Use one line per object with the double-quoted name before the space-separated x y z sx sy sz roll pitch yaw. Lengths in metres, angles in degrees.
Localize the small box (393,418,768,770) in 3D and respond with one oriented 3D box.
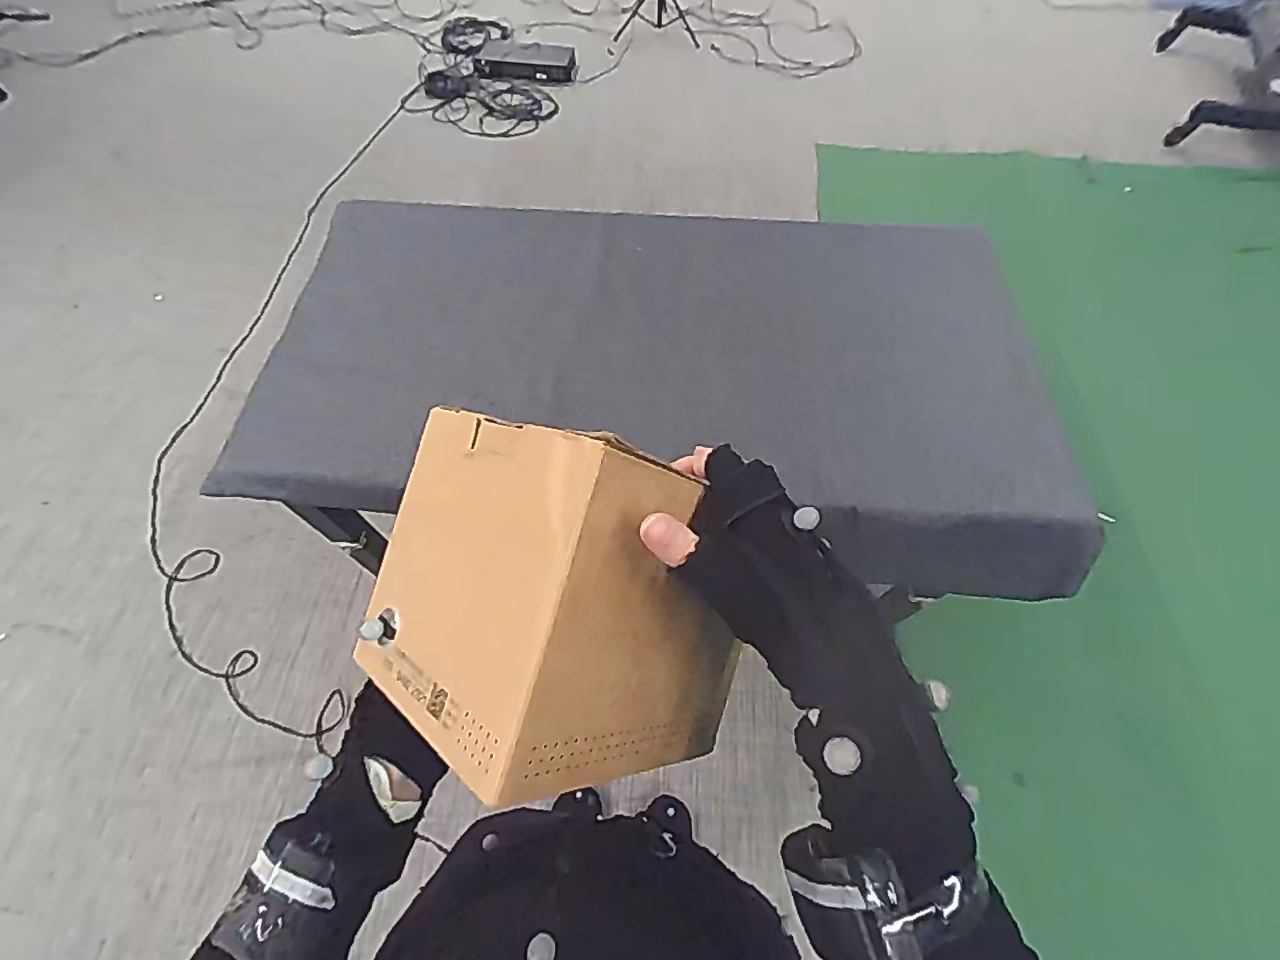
"small box" -0.043 0.070 0.366 0.168 0.179 0.176 15 86 43
